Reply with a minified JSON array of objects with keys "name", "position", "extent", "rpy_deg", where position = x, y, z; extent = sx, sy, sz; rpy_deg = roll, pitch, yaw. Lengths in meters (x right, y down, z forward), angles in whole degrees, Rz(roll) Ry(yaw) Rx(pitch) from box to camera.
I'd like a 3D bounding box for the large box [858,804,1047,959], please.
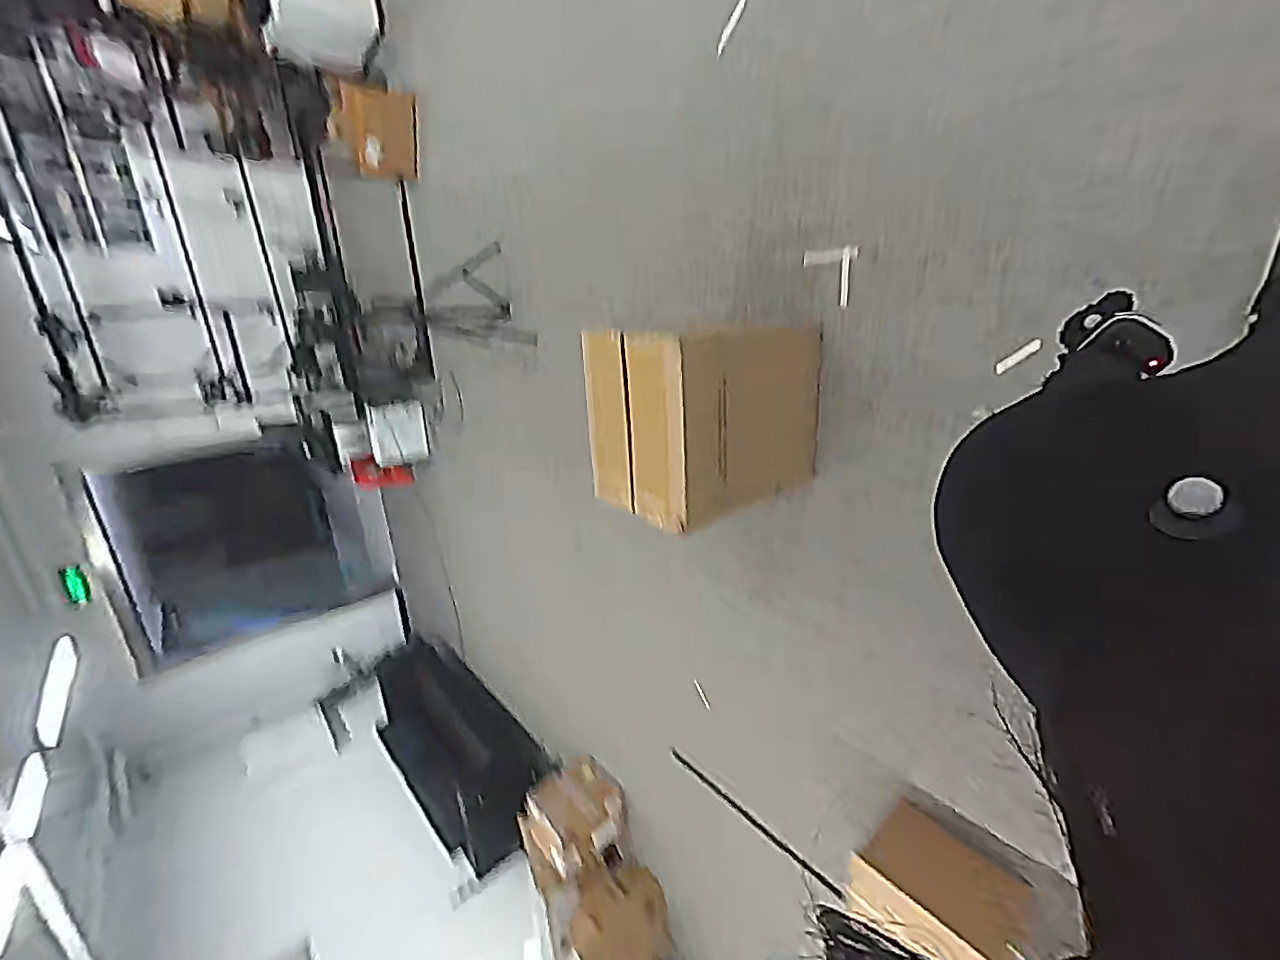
[{"name":"large box","position":[0.944,1.319,1.658],"extent":[0.408,0.320,0.320],"rpy_deg":[20,119,48]}]
